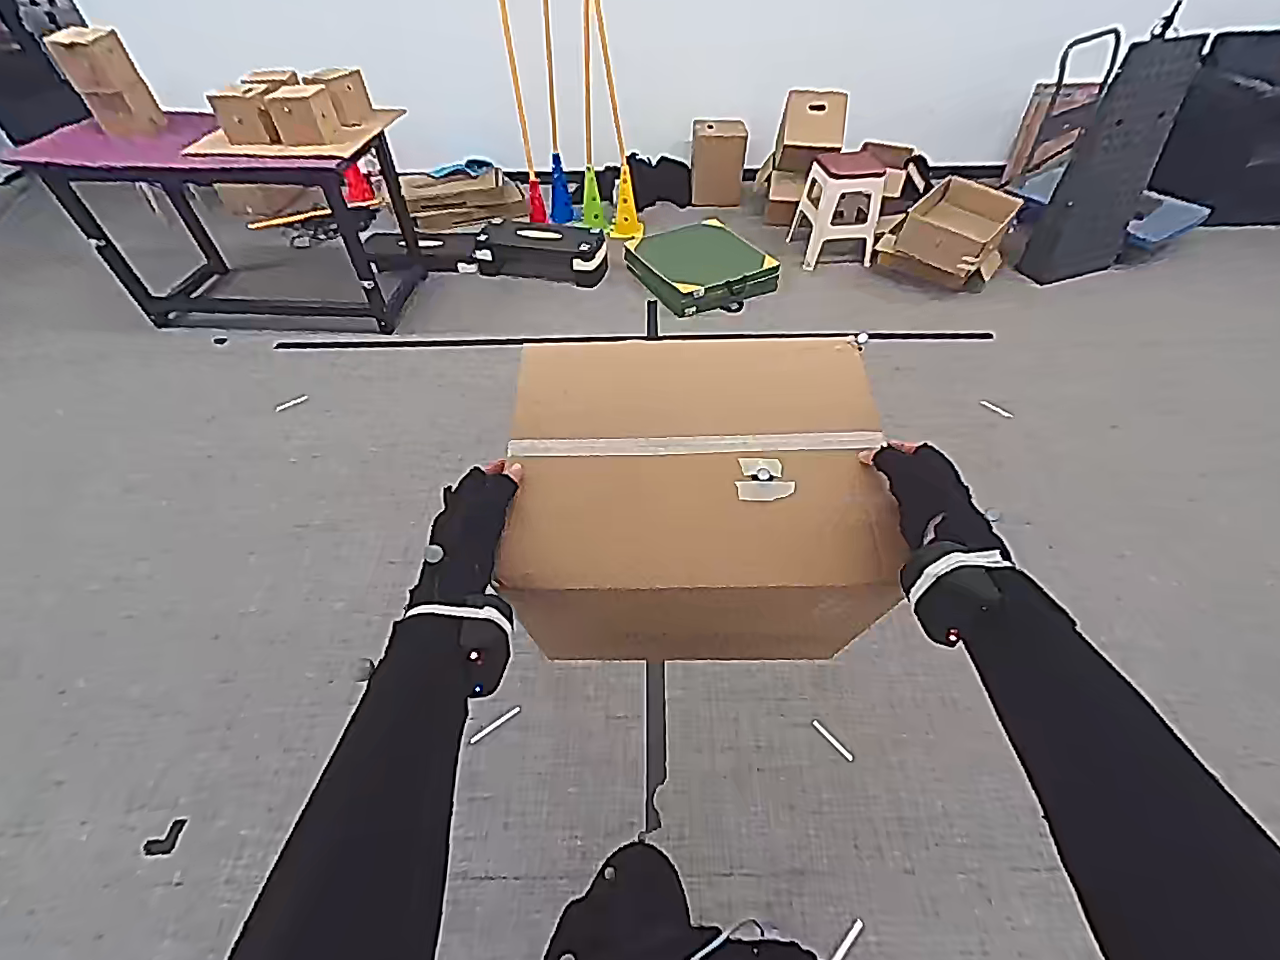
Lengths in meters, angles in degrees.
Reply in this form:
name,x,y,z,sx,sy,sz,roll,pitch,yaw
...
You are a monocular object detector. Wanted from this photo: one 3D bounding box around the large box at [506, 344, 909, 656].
name,x,y,z,sx,sy,sz,roll,pitch,yaw
large box,0.065,0.042,0.728,0.408,0.320,0.320,-1,60,1
